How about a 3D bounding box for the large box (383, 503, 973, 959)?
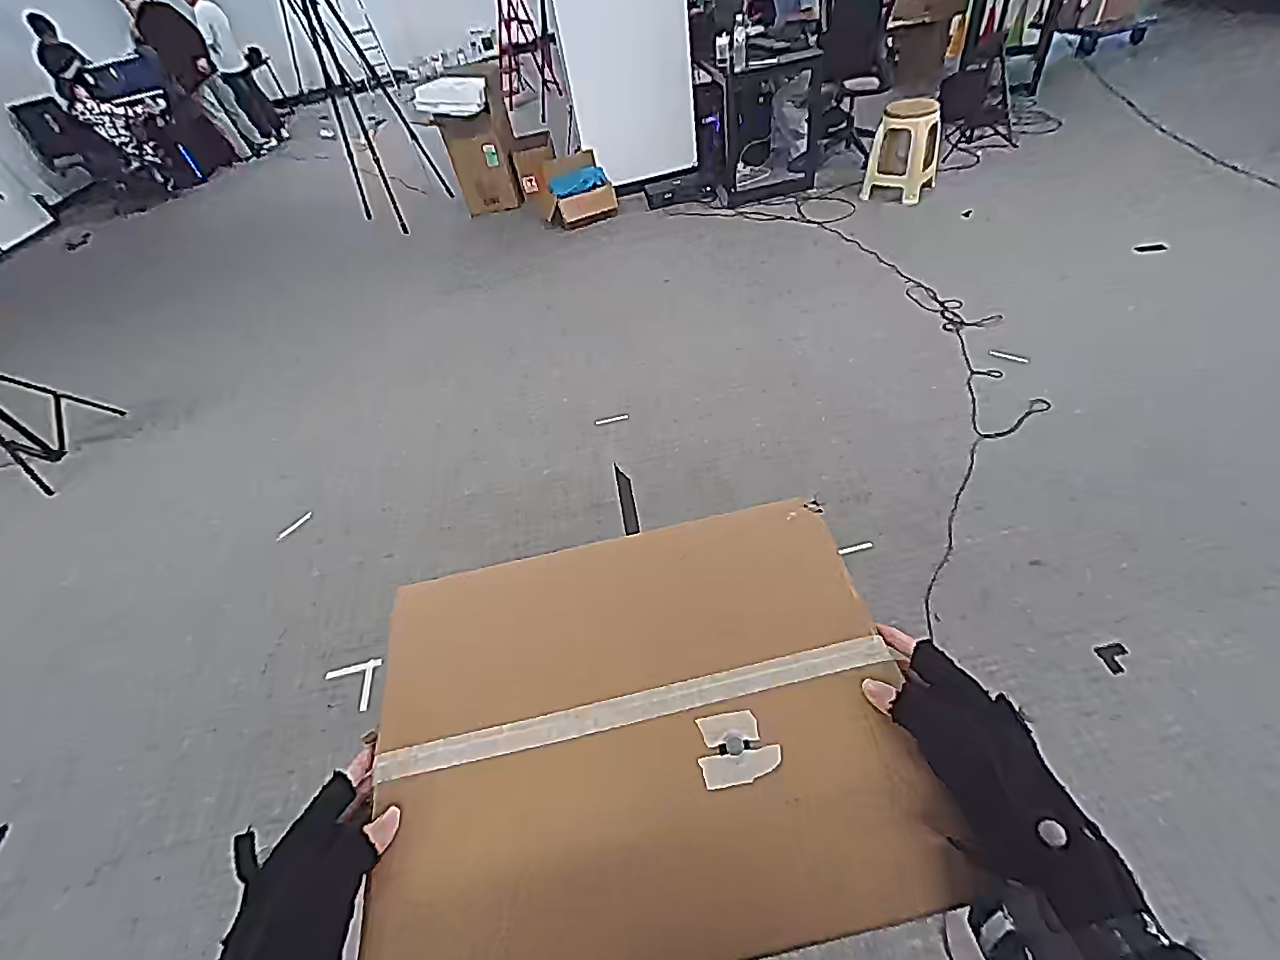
[{"bbox_3d":[0.015,0.273,0.554,0.408,0.320,0.320,-13,52,-1],"label":"large box"}]
